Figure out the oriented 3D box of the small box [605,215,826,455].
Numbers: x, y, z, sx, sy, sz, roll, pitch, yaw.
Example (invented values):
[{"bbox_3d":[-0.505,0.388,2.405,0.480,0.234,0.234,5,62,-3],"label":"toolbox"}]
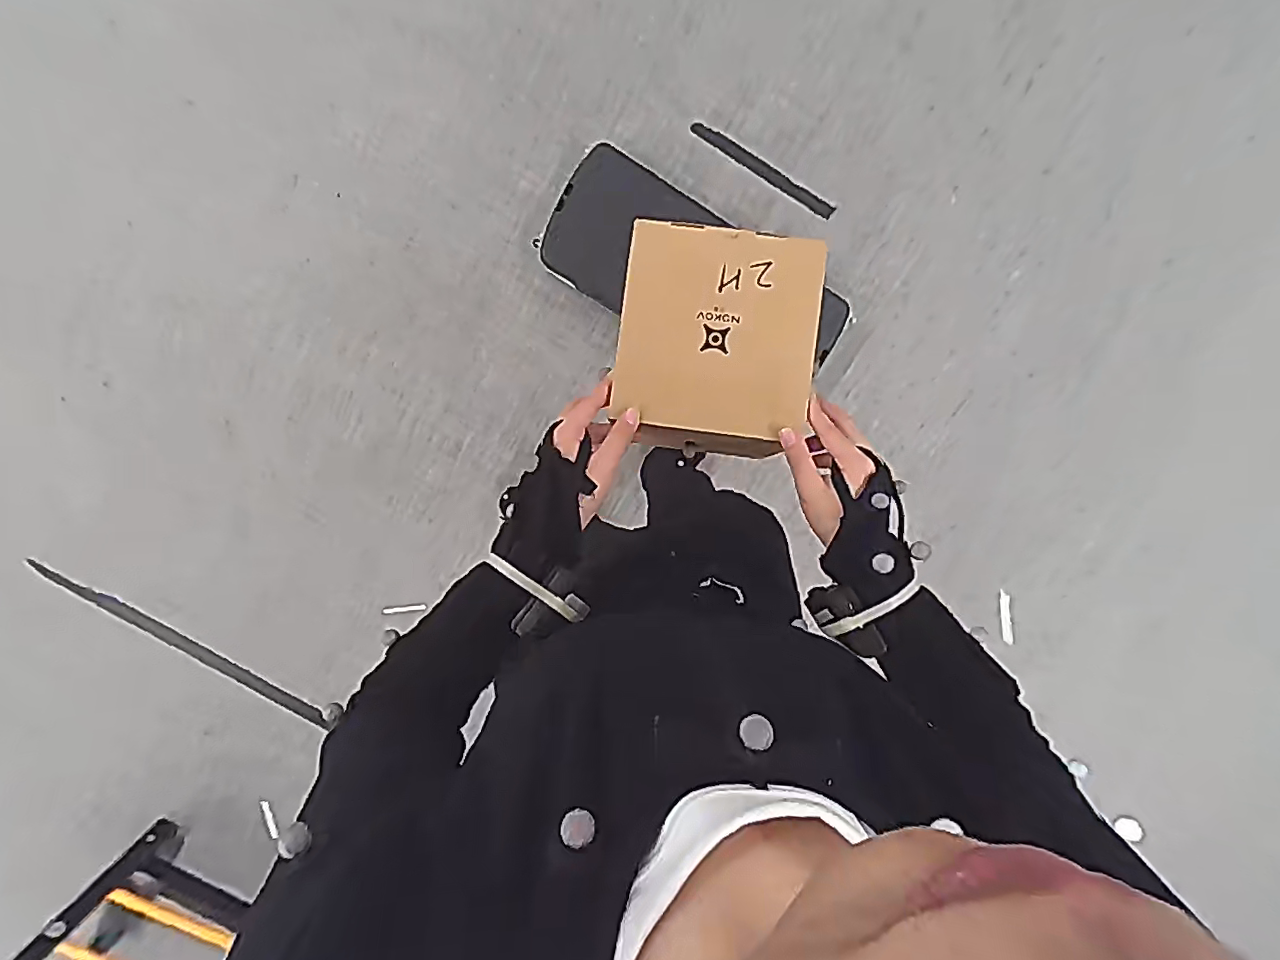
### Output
[{"bbox_3d":[0.065,-0.123,0.525,0.168,0.176,0.179,7,88,1],"label":"small box"}]
